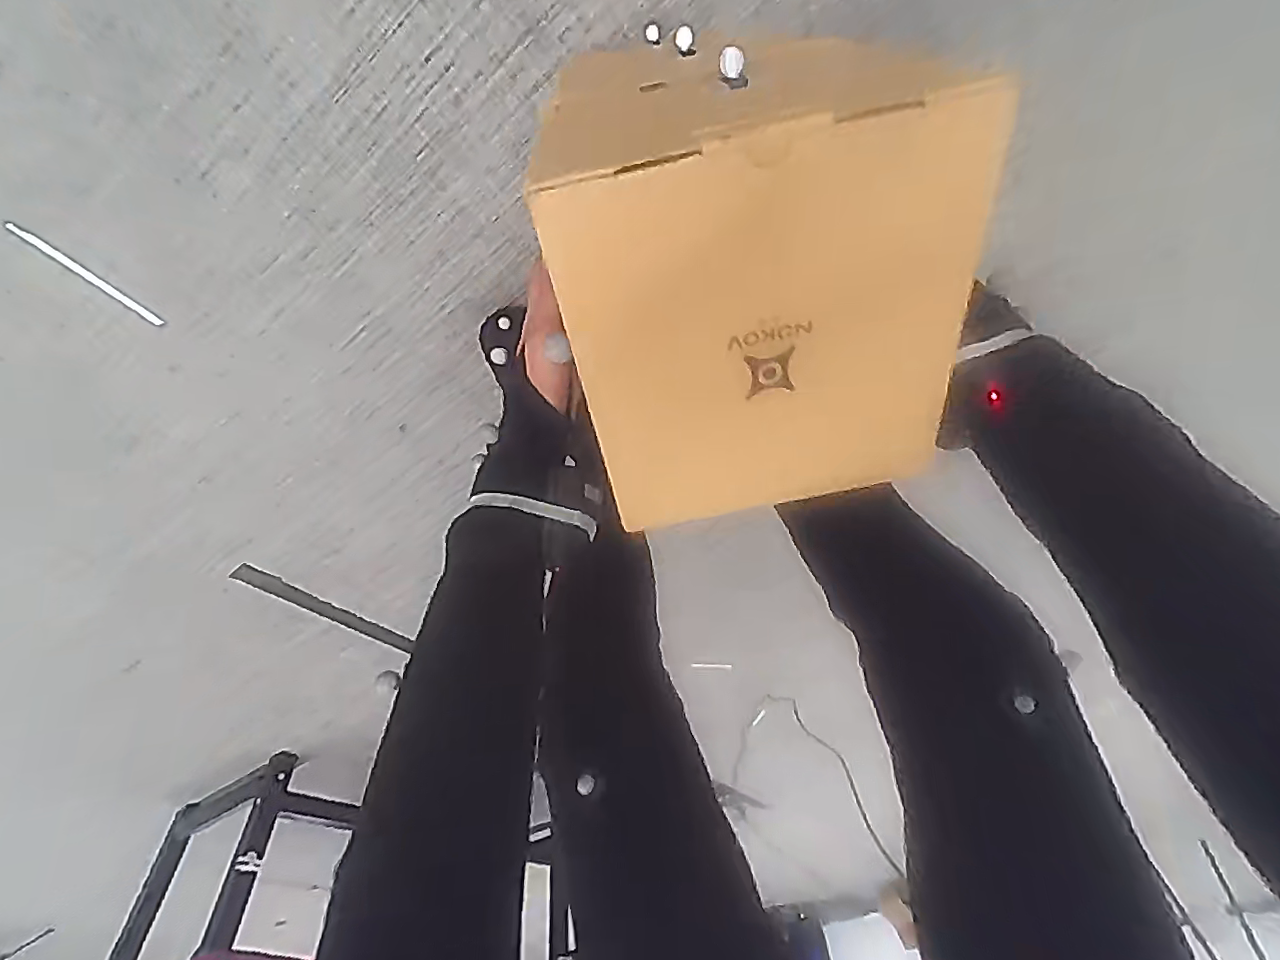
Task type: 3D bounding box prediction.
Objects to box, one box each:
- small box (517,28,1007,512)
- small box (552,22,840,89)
[{"bbox_3d":[0.045,-0.112,0.291,0.168,0.176,0.179,-11,132,2],"label":"small box"},{"bbox_3d":[0.030,-0.224,0.409,0.168,0.176,0.179,-9,134,0],"label":"small box"}]
